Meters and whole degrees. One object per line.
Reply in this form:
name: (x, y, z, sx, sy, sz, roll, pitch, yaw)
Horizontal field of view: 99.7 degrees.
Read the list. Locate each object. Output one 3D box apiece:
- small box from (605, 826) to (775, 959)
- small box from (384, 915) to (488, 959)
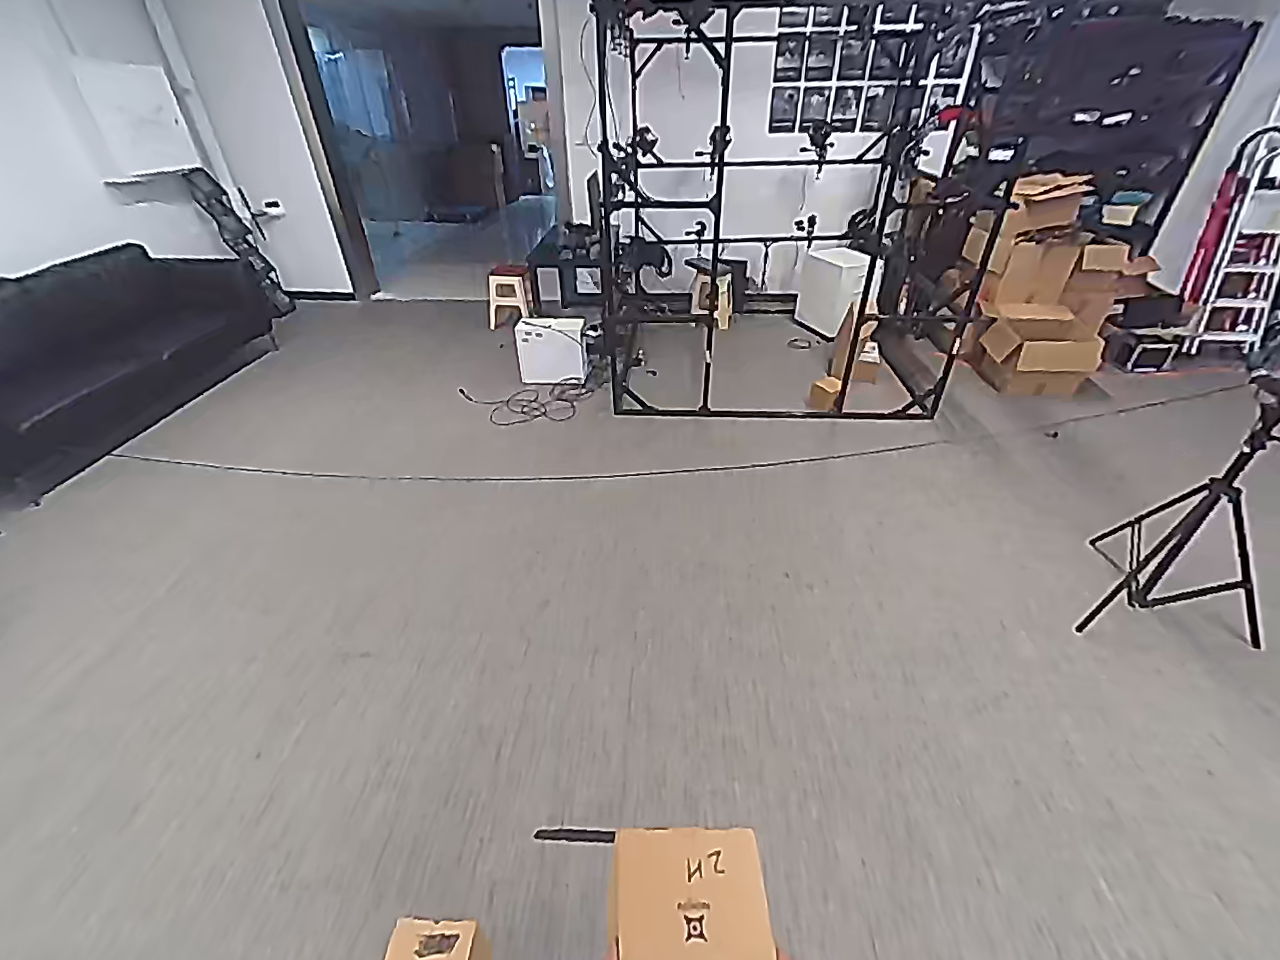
small box: (0.048, 0.528, 0.621, 0.168, 0.176, 0.179, 4, 37, -6)
small box: (-0.411, 0.999, 1.069, 0.168, 0.176, 0.179, 0, 36, 3)
